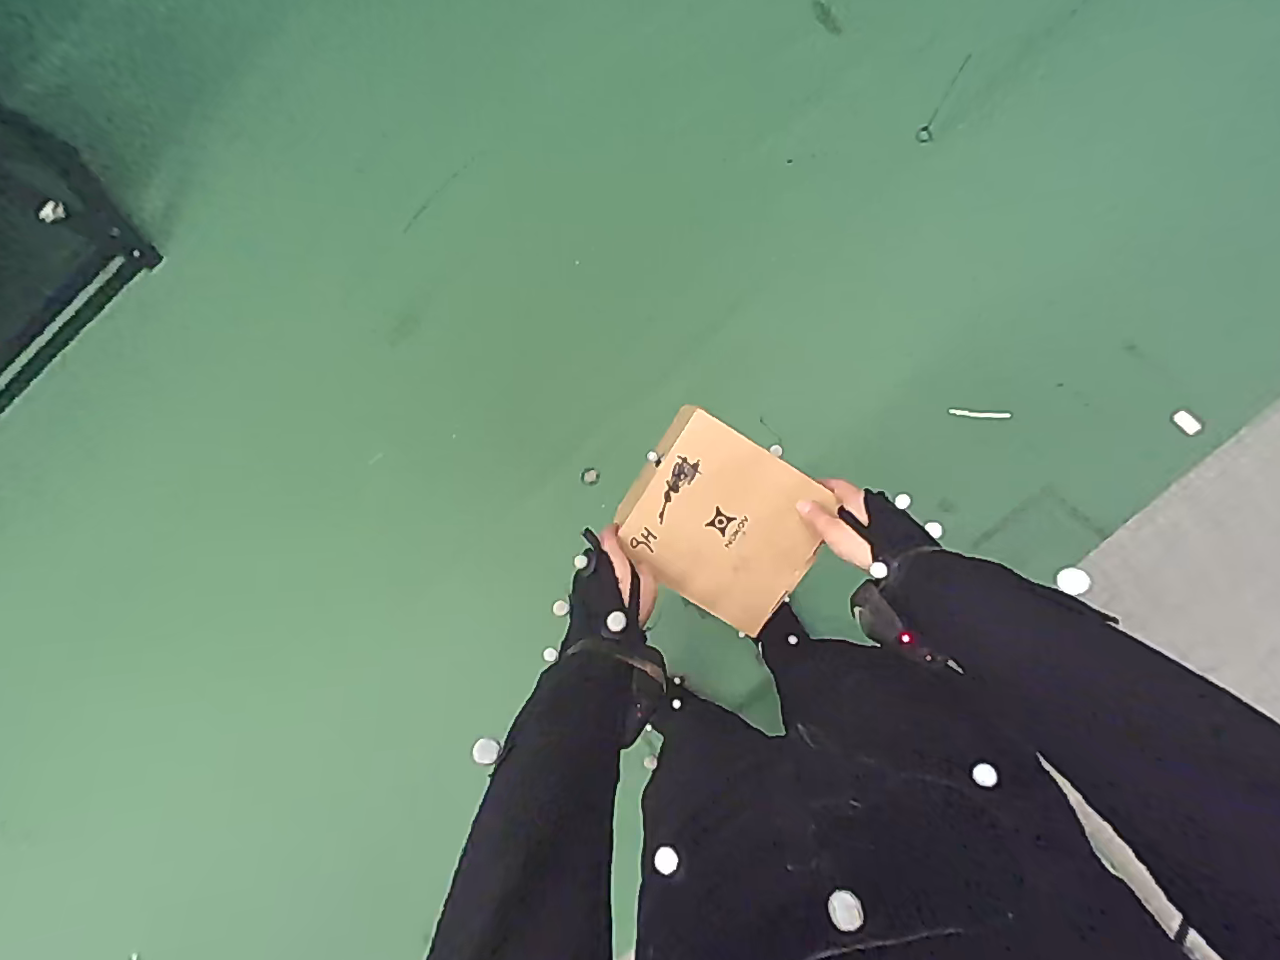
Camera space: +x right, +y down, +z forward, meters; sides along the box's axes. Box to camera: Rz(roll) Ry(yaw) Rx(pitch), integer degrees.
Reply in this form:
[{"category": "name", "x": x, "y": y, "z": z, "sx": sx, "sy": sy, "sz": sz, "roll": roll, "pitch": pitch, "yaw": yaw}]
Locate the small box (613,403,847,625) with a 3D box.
[{"category": "small box", "x": 0.088, "y": 0.023, "z": 0.608, "sx": 0.179, "sy": 0.176, "sz": 0.168, "roll": 33, "pitch": 98, "yaw": -5}]
